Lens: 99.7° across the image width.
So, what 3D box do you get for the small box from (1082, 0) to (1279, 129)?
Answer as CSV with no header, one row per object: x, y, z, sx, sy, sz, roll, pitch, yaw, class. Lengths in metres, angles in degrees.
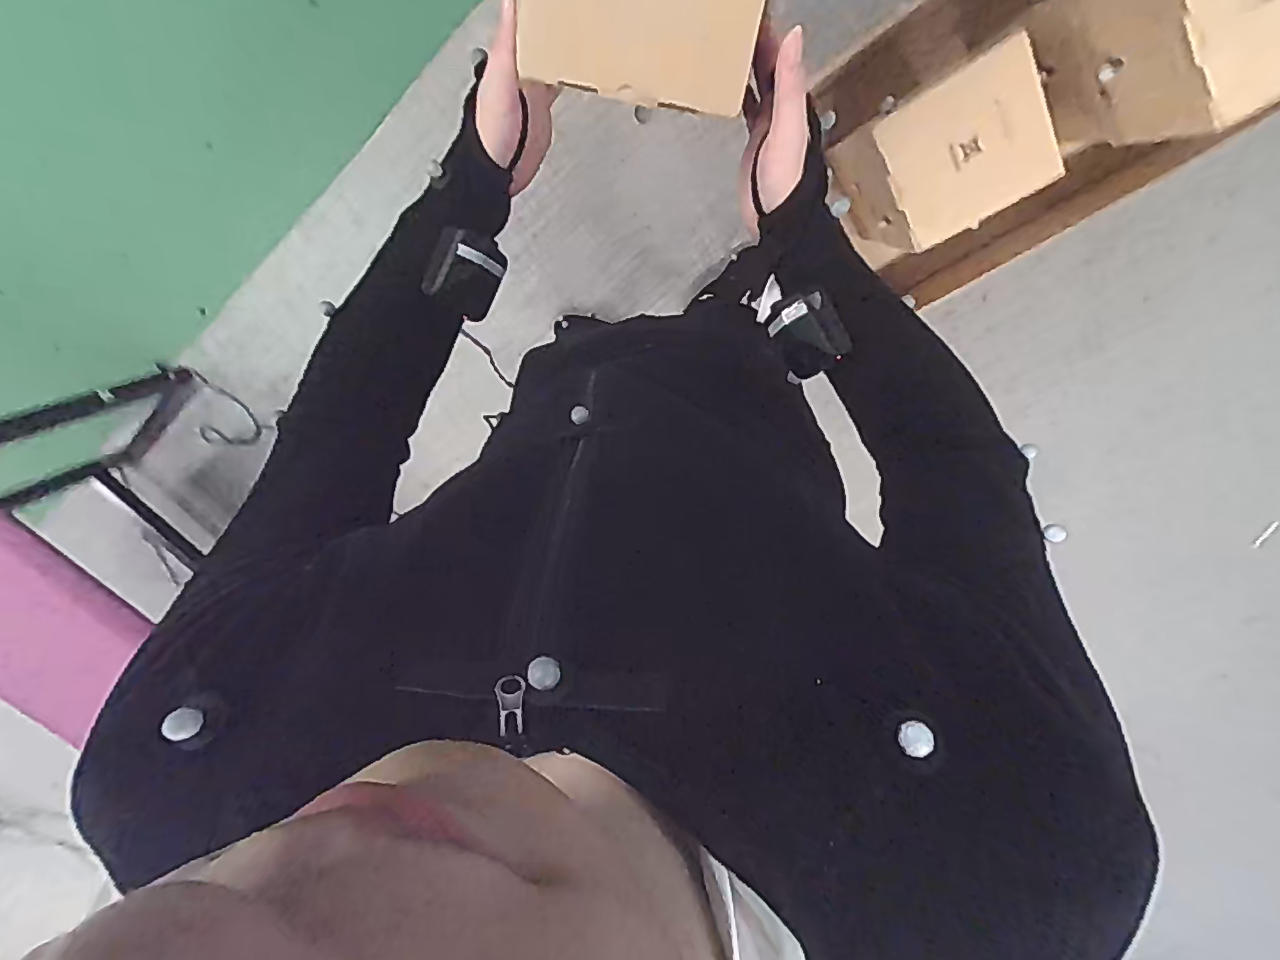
0.560,-0.455,0.487,0.179,0.176,0.168,-29,108,24,small box

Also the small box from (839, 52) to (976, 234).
0.430,-0.510,0.849,0.179,0.176,0.168,-28,109,20,small box

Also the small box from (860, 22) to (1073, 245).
0.406,-0.432,0.707,0.179,0.176,0.168,-26,110,20,small box

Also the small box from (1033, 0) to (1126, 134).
0.601,-0.537,0.625,0.179,0.176,0.168,-27,110,24,small box

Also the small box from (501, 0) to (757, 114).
0.006,-0.388,0.393,0.168,0.176,0.179,11,128,3,small box
